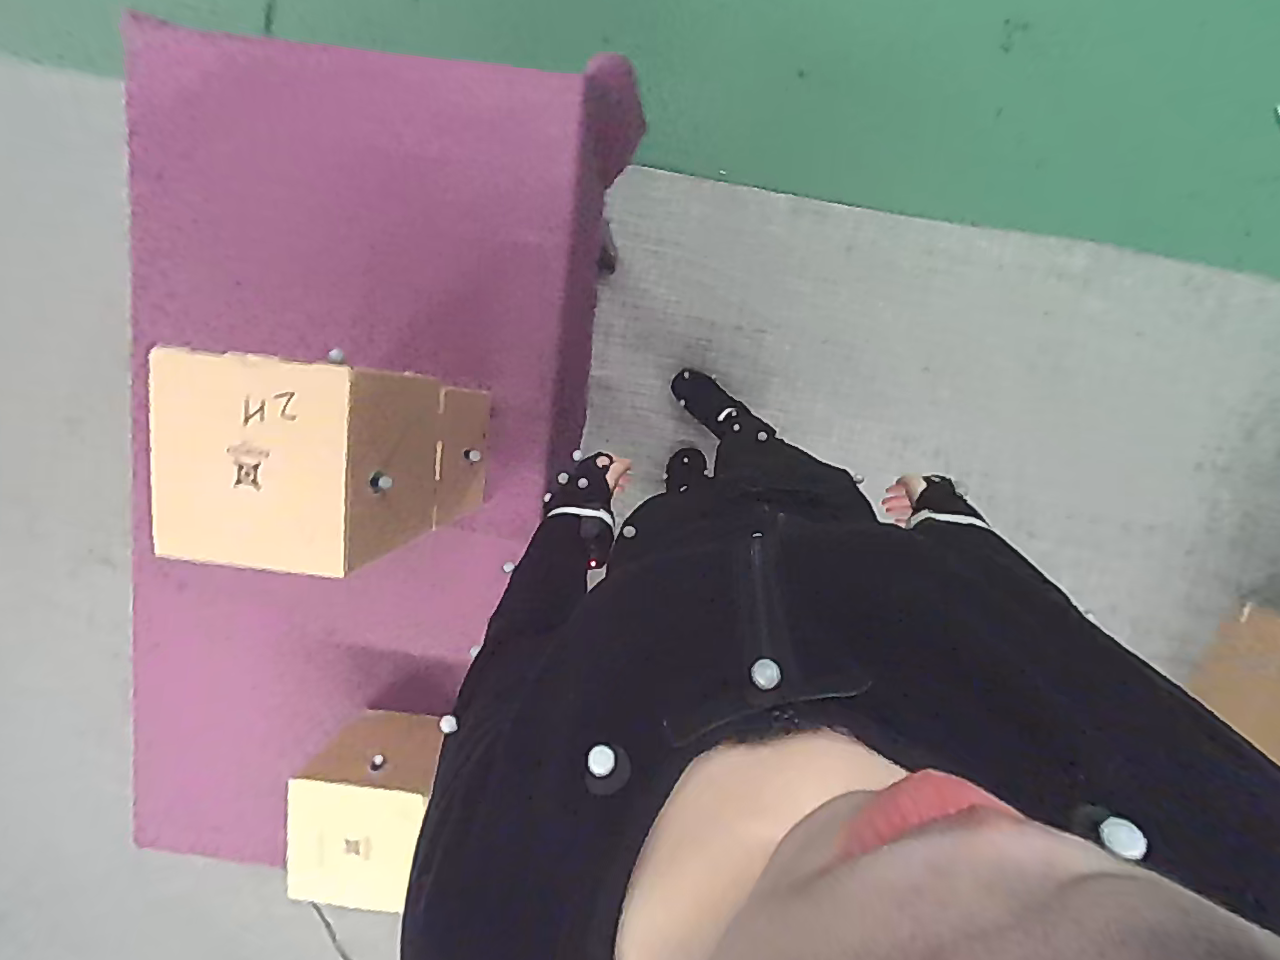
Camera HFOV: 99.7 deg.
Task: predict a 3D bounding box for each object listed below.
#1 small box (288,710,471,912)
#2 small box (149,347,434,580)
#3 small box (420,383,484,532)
[{"bbox_3d":[-0.346,0.442,0.747,0.179,0.176,0.168,6,97,2],"label":"small box"},{"bbox_3d":[-0.312,-0.022,0.517,0.168,0.176,0.179,6,98,1],"label":"small box"},{"bbox_3d":[-0.308,-0.042,0.681,0.179,0.176,0.168,7,98,0],"label":"small box"}]
